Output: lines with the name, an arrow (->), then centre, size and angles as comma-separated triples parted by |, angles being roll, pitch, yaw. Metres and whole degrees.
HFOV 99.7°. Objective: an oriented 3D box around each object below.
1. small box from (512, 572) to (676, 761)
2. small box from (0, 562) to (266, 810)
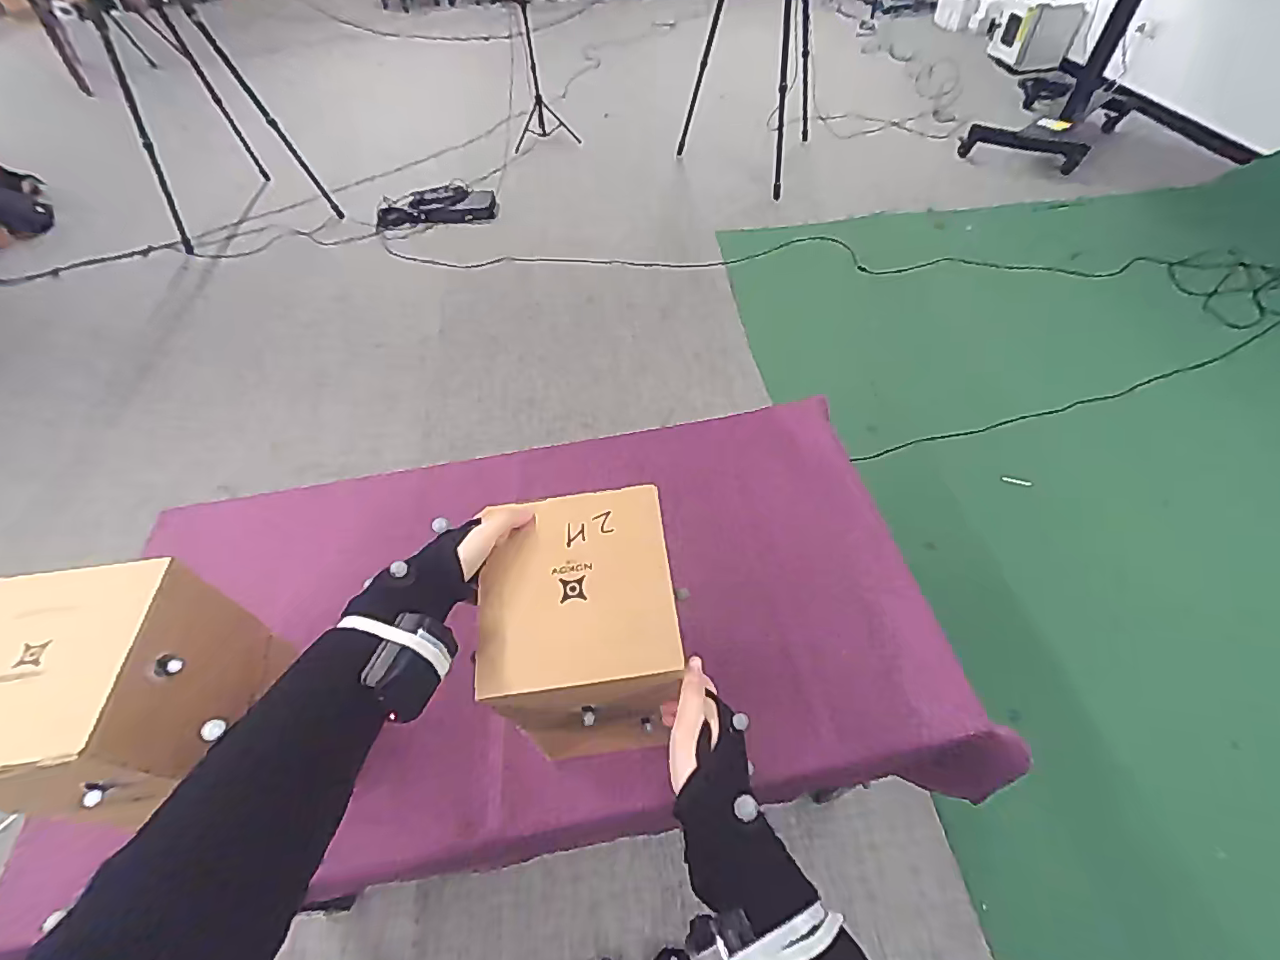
small box -> -0.052, 0.237, 0.674 | 0.179, 0.176, 0.168 | -7, 52, -3
small box -> -0.505, 0.203, 0.518 | 0.168, 0.176, 0.179 | -7, 51, -2
